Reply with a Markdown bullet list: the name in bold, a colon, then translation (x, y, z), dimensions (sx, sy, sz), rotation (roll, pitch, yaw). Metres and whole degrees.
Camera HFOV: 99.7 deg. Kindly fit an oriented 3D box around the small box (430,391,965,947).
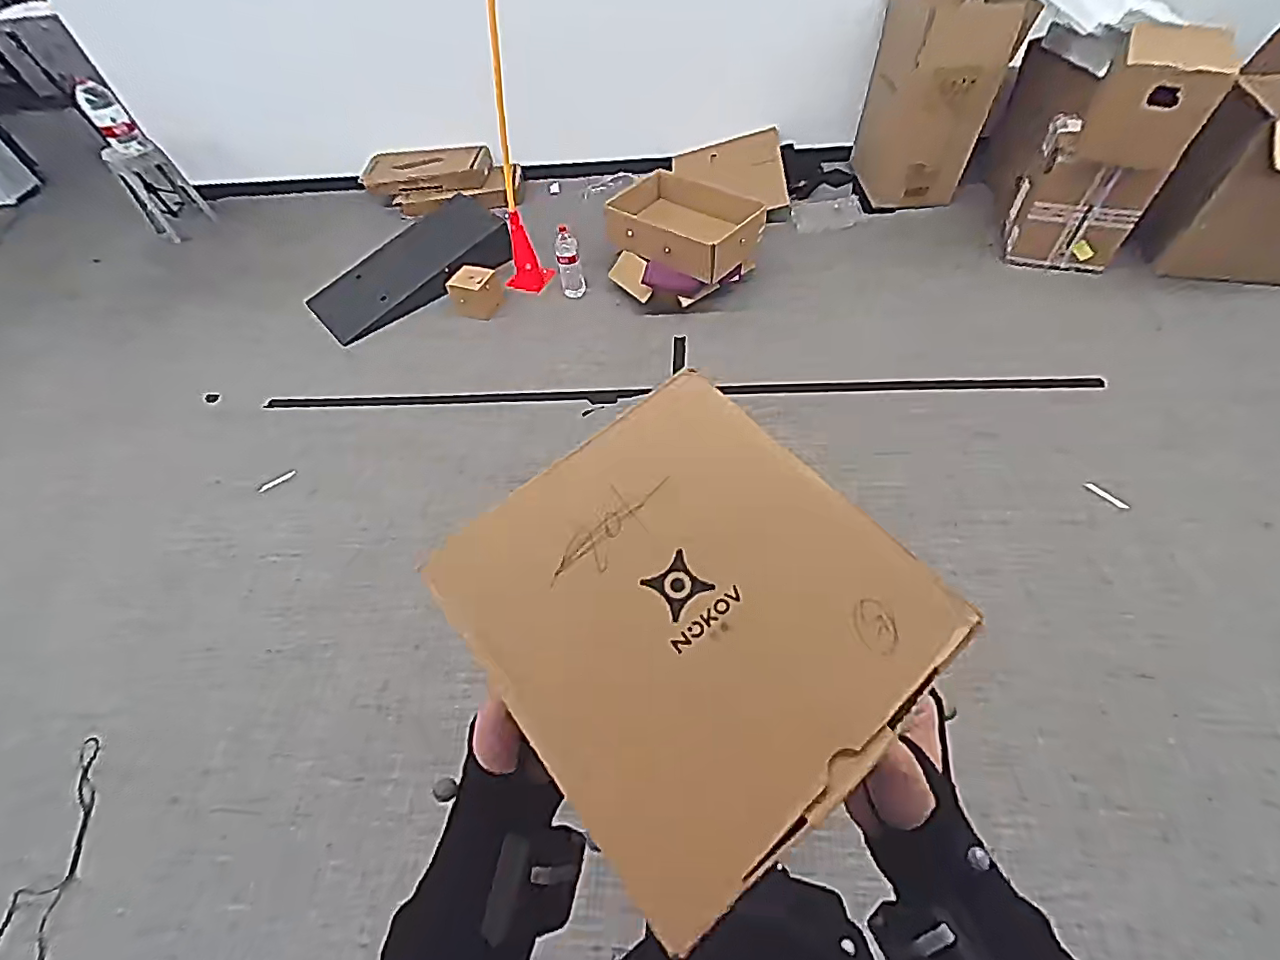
- **small box**: translation (0.025, 0.092, 0.305), dimensions (0.168, 0.176, 0.179), rotation (-39, 65, -15)
